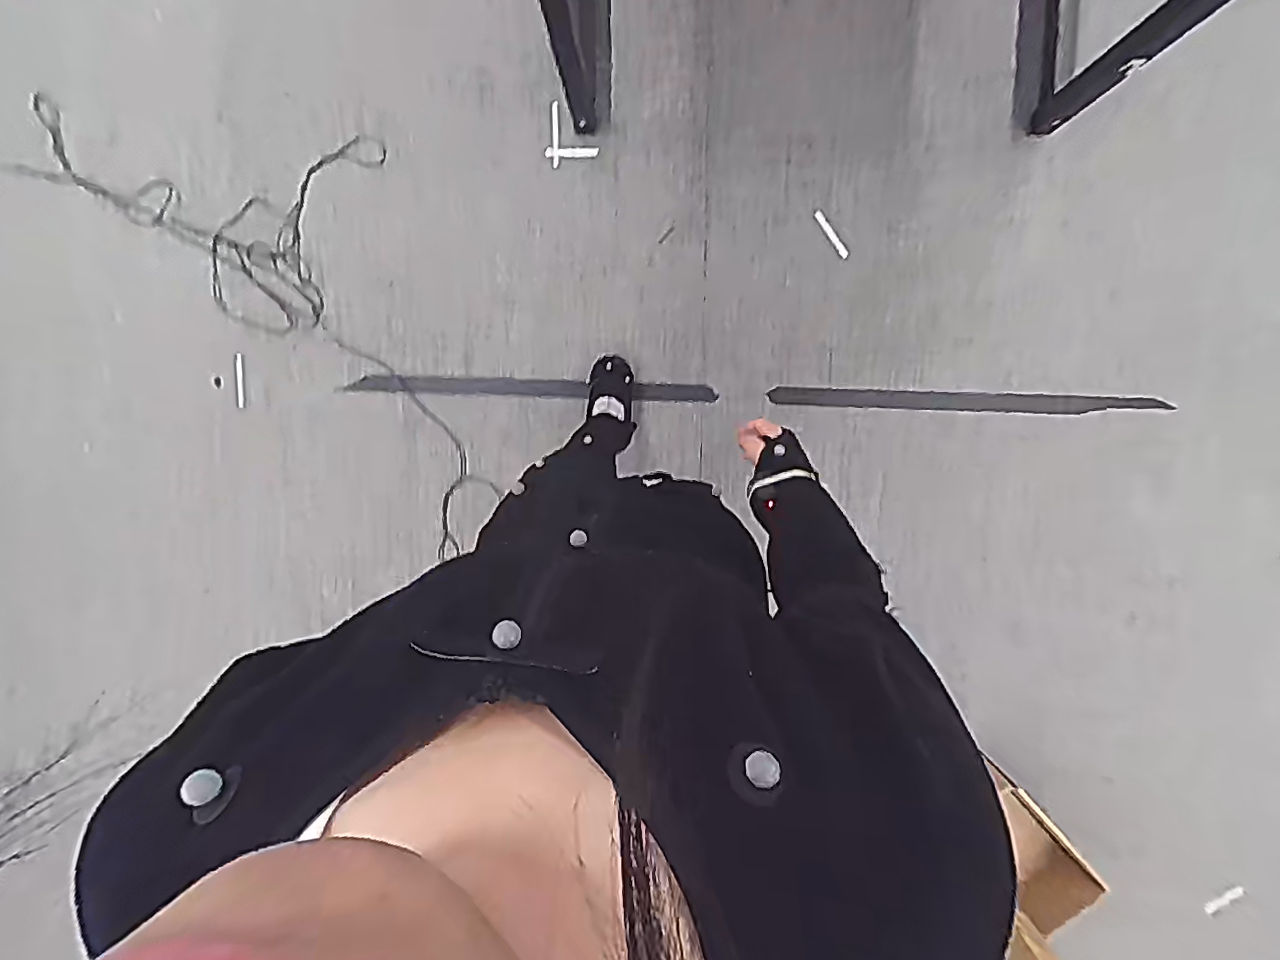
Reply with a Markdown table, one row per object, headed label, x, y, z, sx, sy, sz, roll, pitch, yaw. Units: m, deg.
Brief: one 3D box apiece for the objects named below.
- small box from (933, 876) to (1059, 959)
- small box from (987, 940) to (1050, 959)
| label | x | y | z | sx | sy | sz | roll | pitch | yaw |
| --- | --- | --- | --- | --- | --- | --- | --- | --- | --- |
| small box | 0.854 | 1.104 | 1.298 | 0.179 | 0.176 | 0.168 | 43 | 97 | -4 |
| small box | 0.844 | 1.126 | 1.134 | 0.179 | 0.176 | 0.168 | 42 | 98 | -3 |
